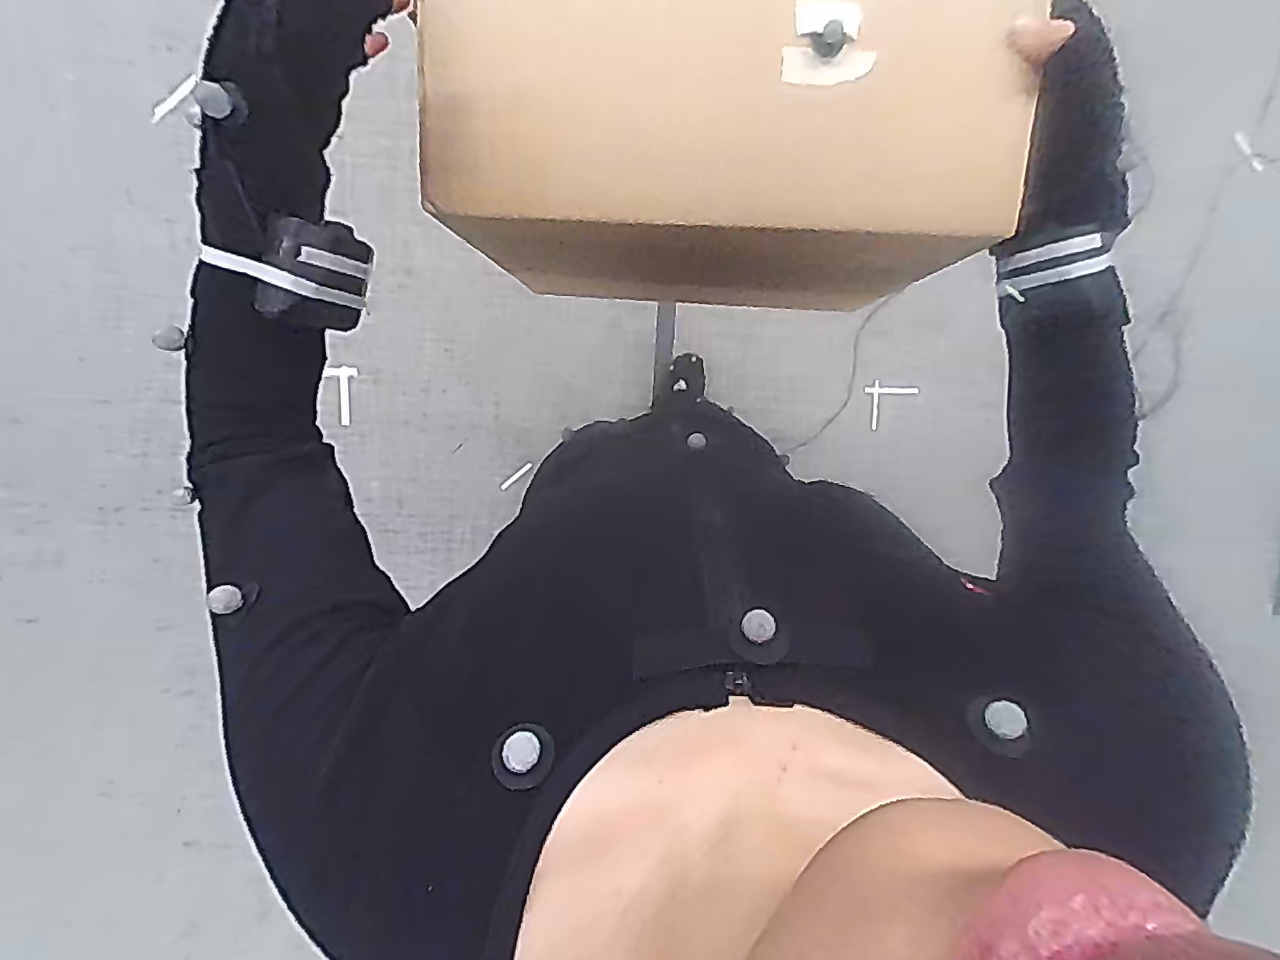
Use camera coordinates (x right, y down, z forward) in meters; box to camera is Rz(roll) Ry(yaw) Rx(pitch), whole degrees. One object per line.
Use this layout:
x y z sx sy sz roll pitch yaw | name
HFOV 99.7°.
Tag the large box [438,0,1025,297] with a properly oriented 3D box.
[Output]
0.064 -0.363 0.512 0.408 0.320 0.320 3 100 2 | large box
